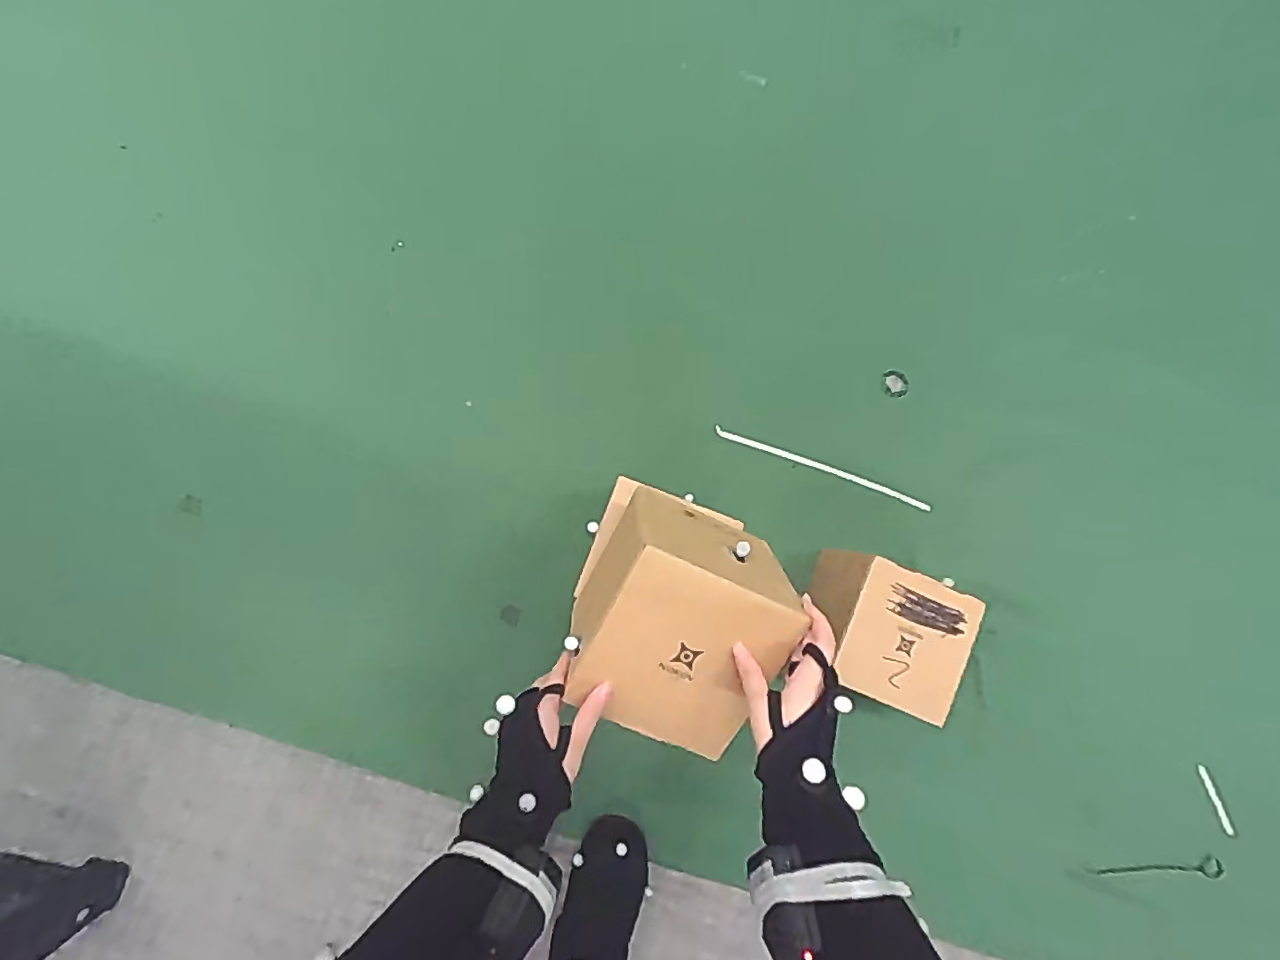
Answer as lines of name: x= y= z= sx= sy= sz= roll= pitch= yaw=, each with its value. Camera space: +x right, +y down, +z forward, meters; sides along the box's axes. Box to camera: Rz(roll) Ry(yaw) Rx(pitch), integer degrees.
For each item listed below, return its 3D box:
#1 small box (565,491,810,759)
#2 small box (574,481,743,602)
small box: x=0.037 y=0.135 z=0.557 sx=0.168 sy=0.176 sz=0.179 roll=25 pitch=106 yaw=-9
small box: x=0.021 y=0.111 z=0.767 sx=0.179 sy=0.176 sz=0.168 roll=21 pitch=84 yaw=-1
